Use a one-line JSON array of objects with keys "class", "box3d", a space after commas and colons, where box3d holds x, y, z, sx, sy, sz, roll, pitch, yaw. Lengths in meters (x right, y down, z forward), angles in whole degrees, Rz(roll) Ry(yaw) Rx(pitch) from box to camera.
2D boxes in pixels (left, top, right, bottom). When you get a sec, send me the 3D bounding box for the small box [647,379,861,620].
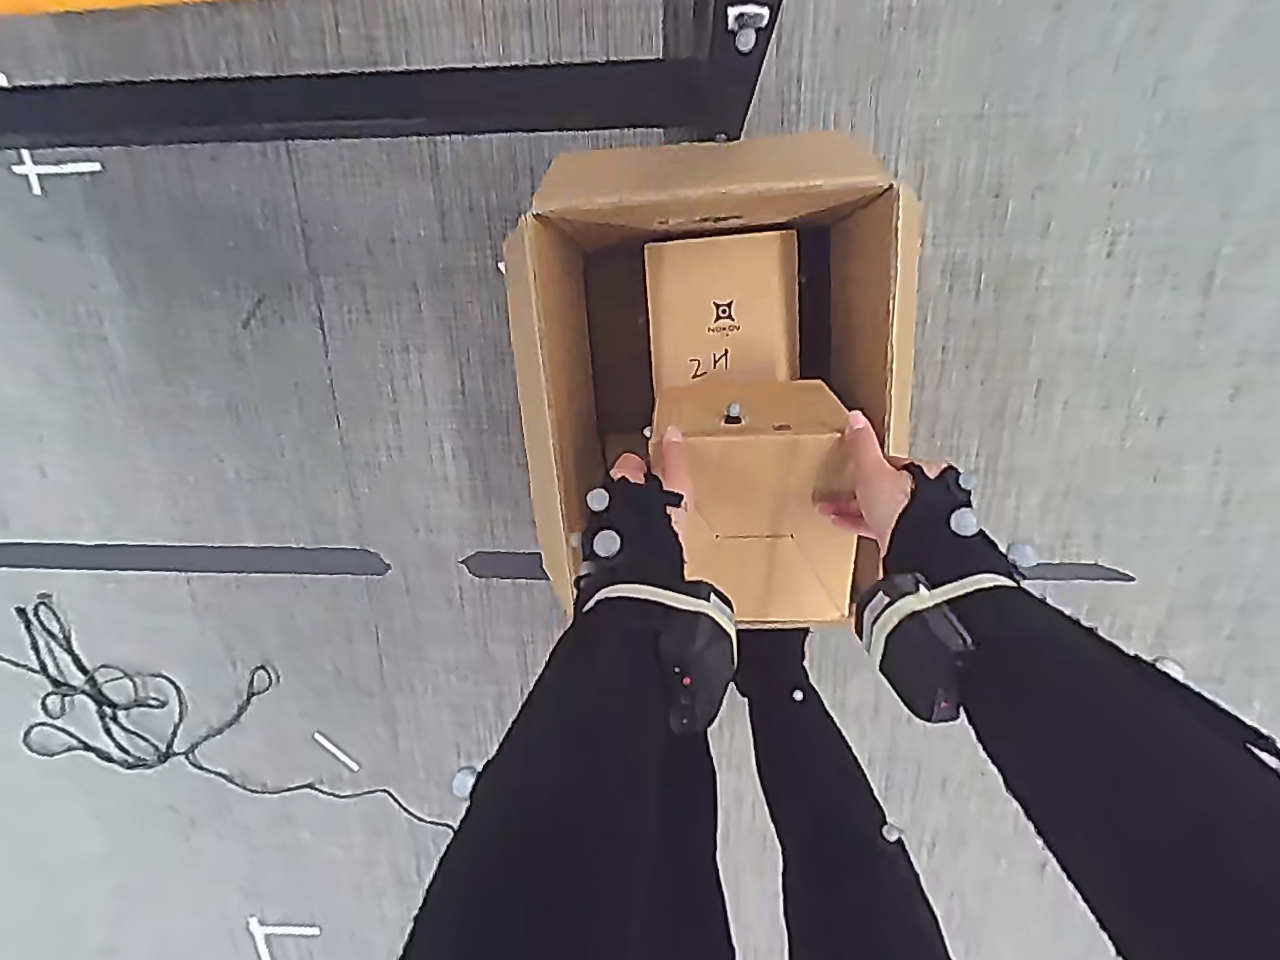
[{"class": "small box", "box3d": [0.097, 0.015, 0.510, 0.168, 0.176, 0.179, -2, 116, 6]}]
